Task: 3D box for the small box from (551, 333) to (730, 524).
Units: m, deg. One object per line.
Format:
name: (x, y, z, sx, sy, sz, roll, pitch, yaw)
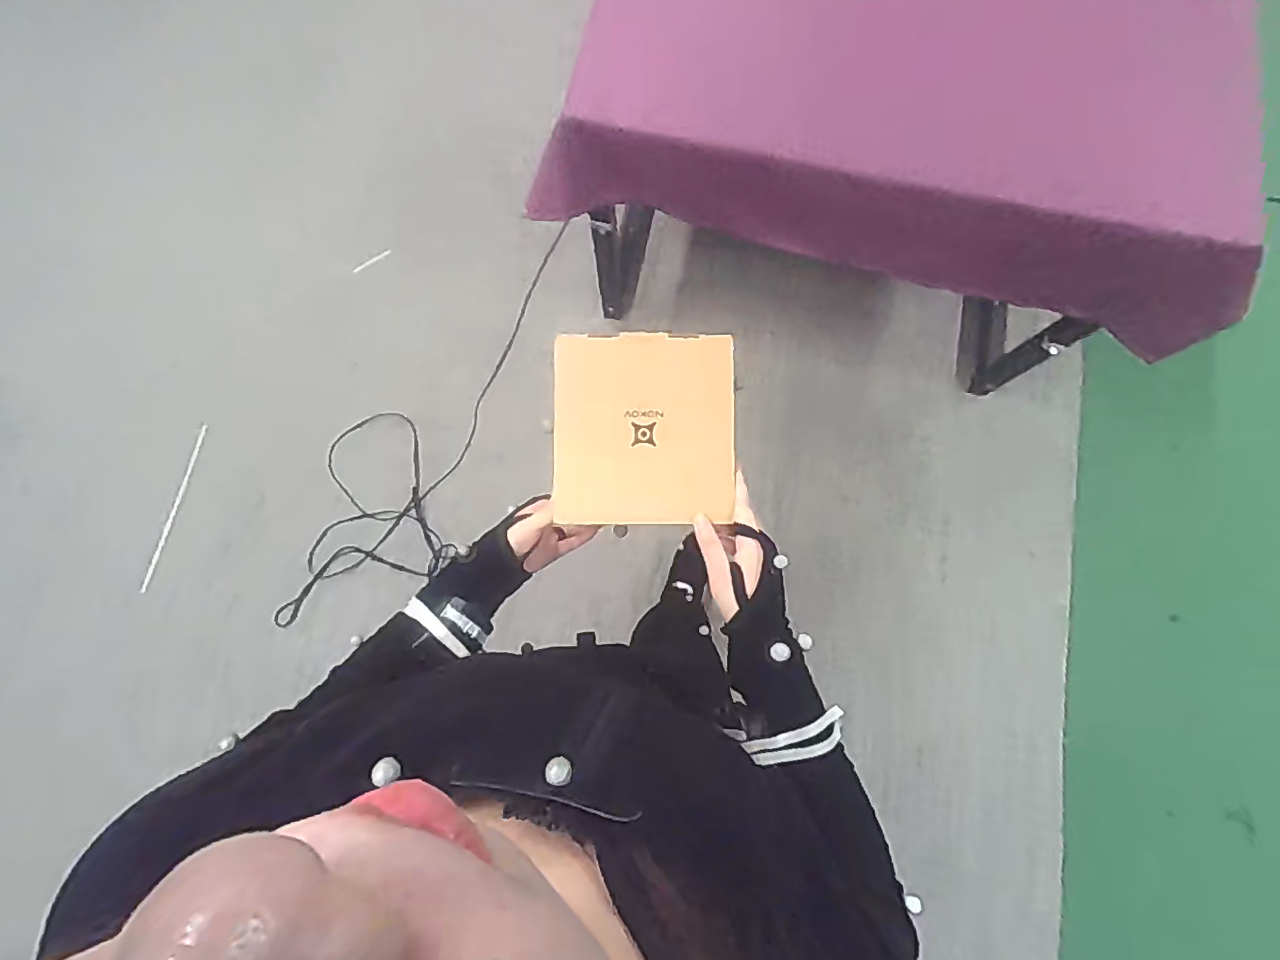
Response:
small box: (0.002, -0.044, 0.571, 0.168, 0.176, 0.179, 0, 86, 0)
